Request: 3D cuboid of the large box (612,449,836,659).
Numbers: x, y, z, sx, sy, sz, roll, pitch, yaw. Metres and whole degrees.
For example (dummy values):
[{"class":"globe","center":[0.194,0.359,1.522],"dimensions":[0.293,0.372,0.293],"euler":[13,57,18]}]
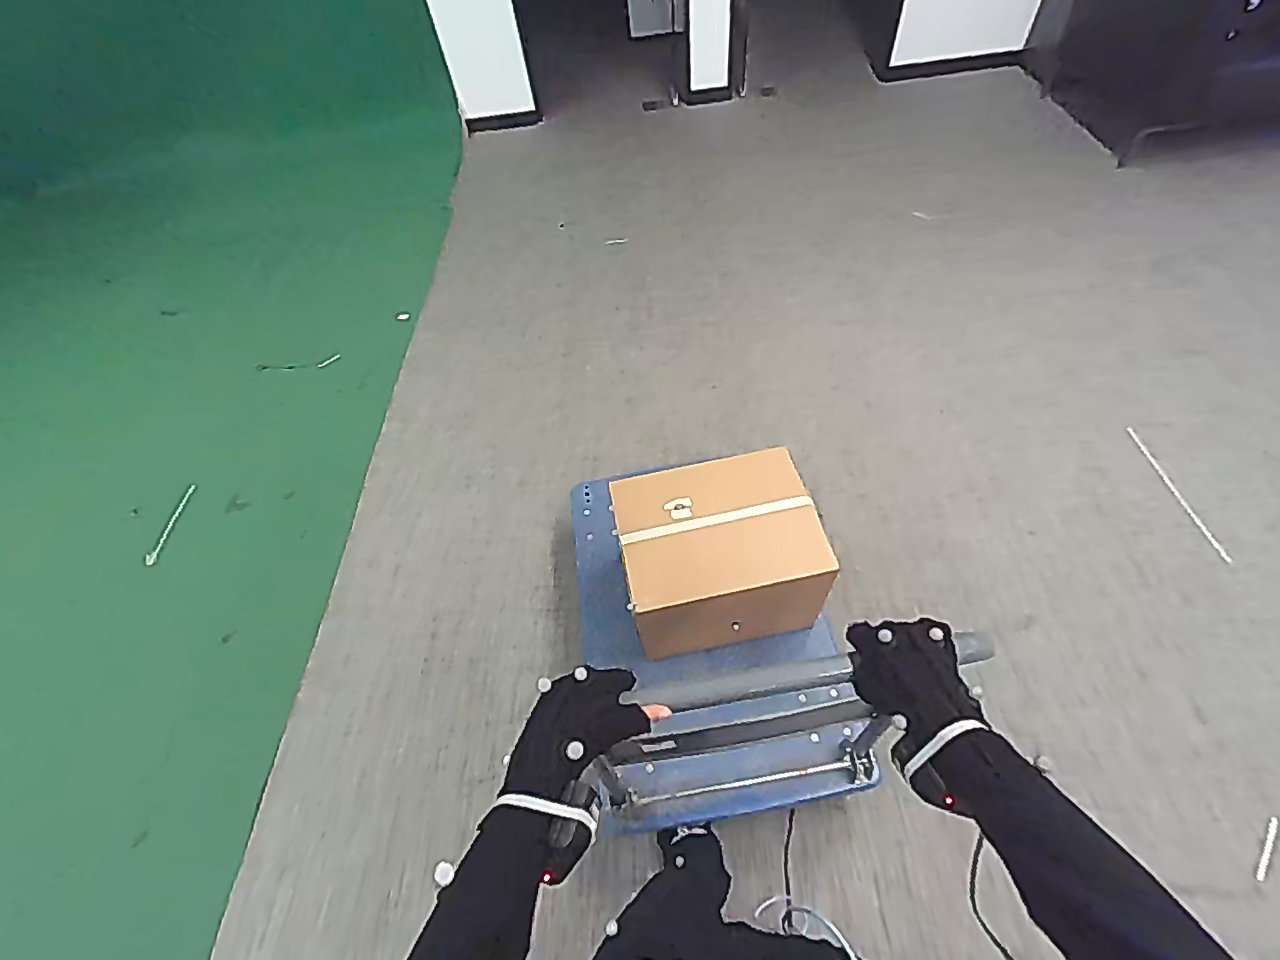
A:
[{"class":"large box","center":[0.177,0.179,1.247],"dimensions":[0.408,0.320,0.320],"euler":[-13,54,-1]}]
